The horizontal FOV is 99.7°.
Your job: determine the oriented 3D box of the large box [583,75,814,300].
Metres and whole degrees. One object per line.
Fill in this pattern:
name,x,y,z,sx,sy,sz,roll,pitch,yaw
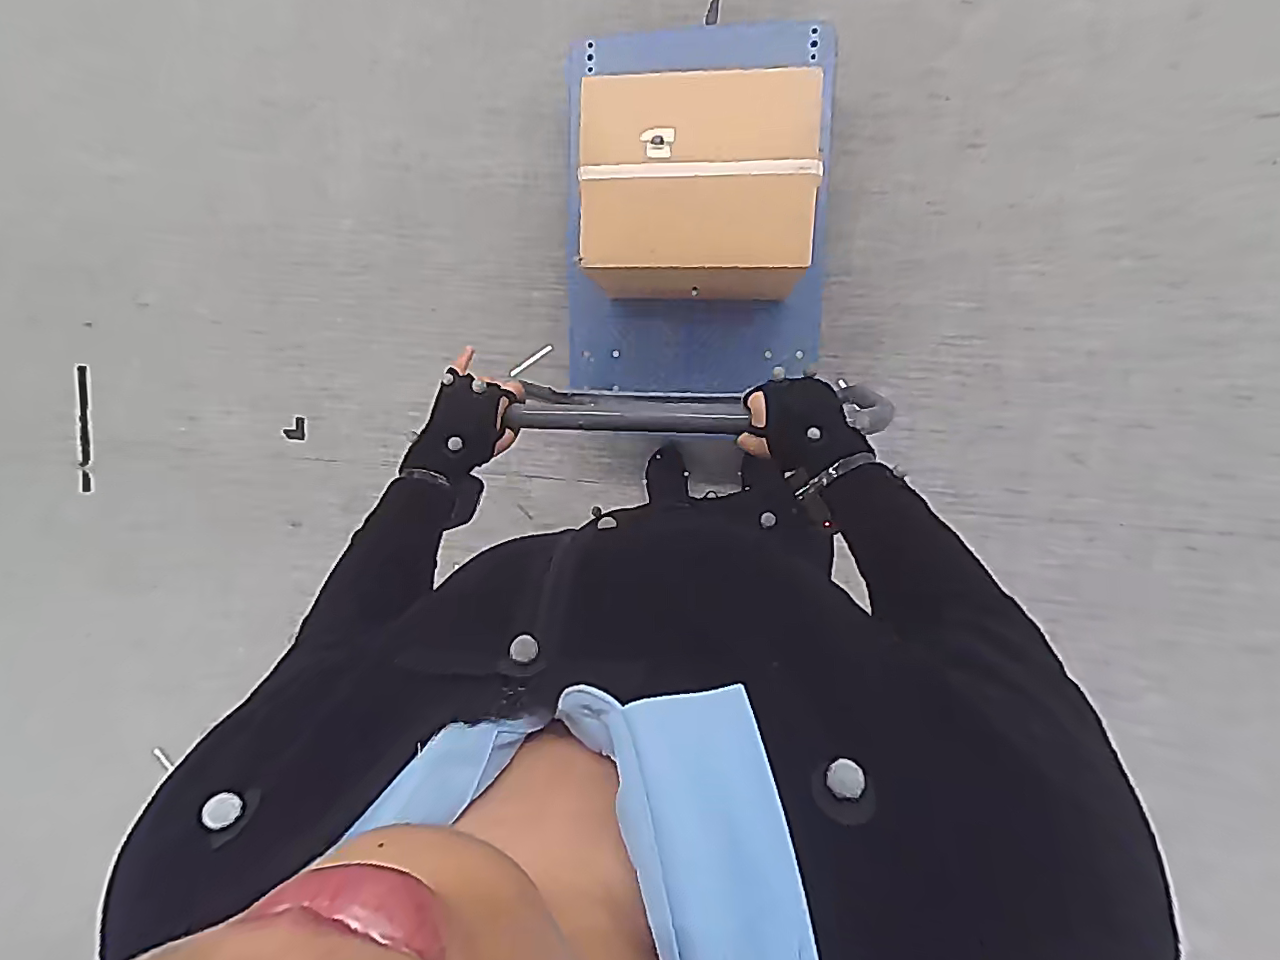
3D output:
large box,0.116,-0.549,1.091,0.408,0.320,0.320,2,97,8
